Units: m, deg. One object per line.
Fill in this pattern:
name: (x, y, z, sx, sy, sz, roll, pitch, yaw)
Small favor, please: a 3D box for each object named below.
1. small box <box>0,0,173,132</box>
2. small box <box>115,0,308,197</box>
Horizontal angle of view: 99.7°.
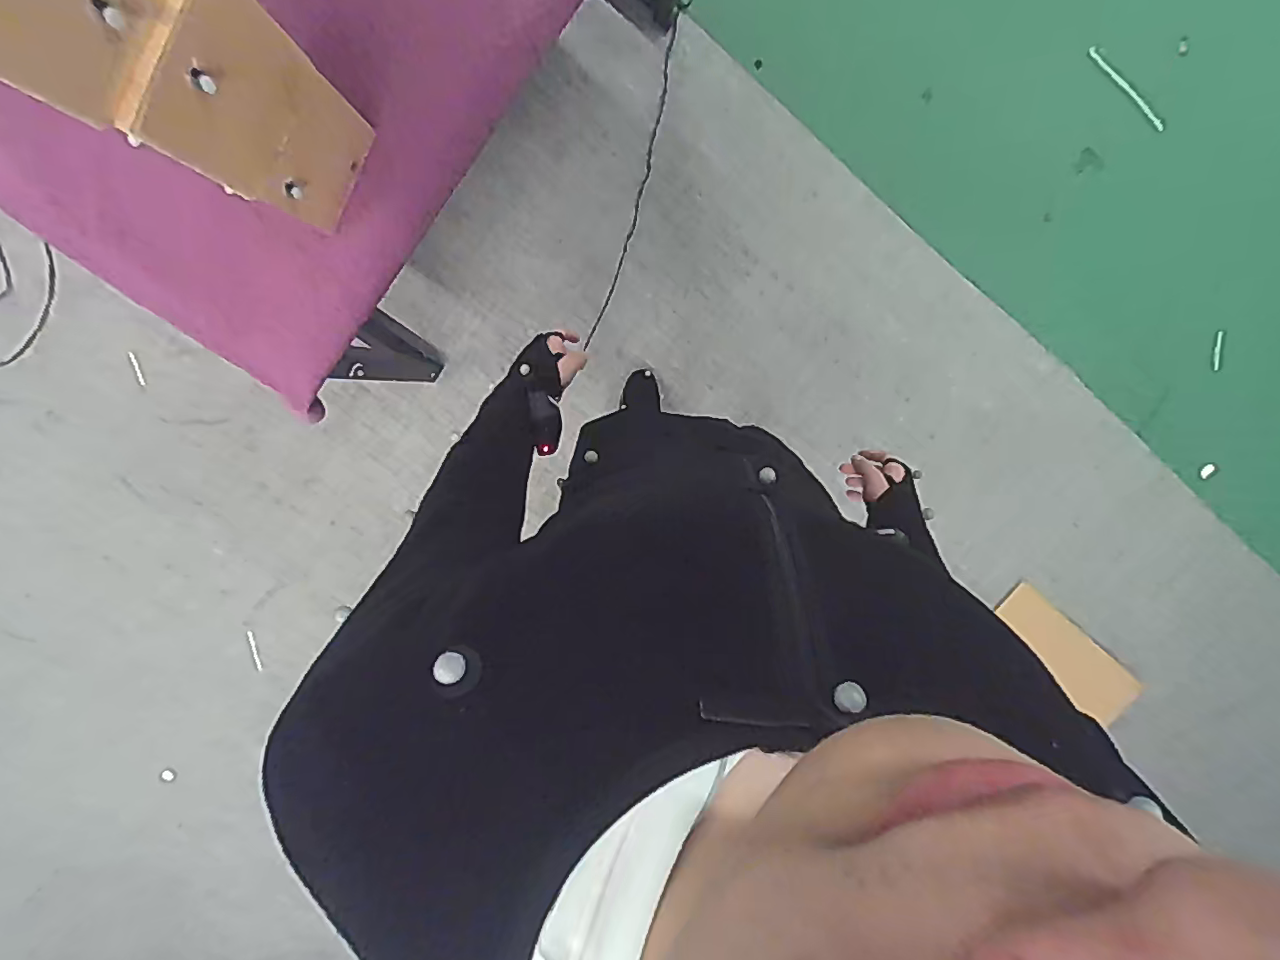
small box: (-0.494, -0.407, 0.388, 0.168, 0.176, 0.179, 31, 97, -6)
small box: (-0.481, -0.434, 0.550, 0.168, 0.176, 0.179, 30, 98, -6)
